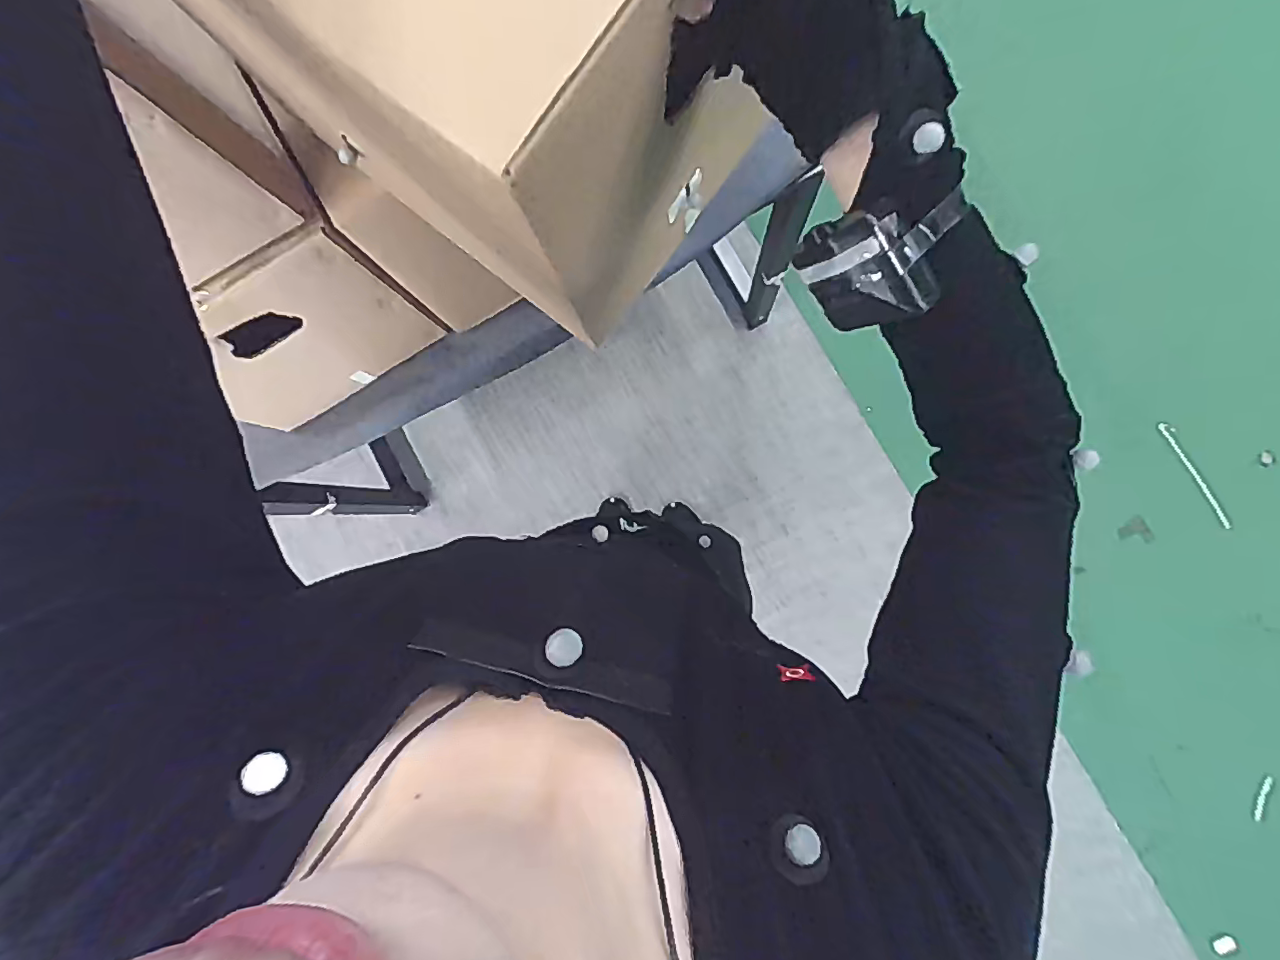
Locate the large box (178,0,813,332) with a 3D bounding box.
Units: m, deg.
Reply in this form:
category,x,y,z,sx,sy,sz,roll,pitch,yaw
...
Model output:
category,x,y,z,sx,sy,sz,roll,pitch,yaw
large box,-0.111,-0.373,0.385,0.408,0.320,0.320,37,91,2
